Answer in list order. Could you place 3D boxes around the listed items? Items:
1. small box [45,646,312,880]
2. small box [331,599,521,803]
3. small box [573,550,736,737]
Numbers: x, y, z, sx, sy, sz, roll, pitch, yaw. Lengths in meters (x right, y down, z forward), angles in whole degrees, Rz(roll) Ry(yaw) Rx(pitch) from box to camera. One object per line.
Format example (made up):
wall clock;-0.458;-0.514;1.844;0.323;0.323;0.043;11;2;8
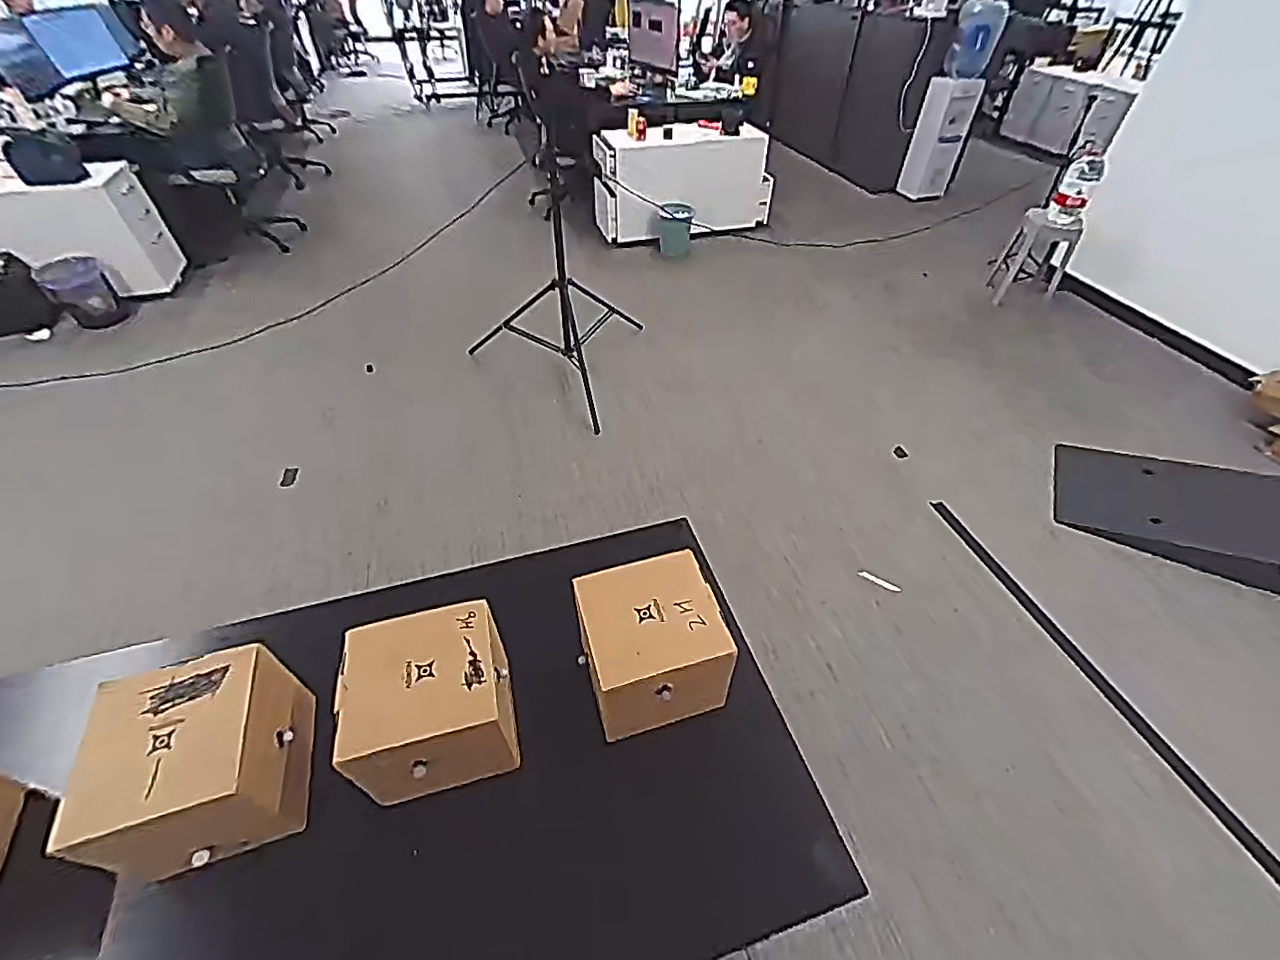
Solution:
small box;-0.511;0.331;0.638;0.168;0.176;0.179;-13;48;-14
small box;-0.260;0.284;0.691;0.179;0.176;0.168;-11;47;-11
small box;0.015;0.228;0.748;0.179;0.176;0.168;-12;47;-12
